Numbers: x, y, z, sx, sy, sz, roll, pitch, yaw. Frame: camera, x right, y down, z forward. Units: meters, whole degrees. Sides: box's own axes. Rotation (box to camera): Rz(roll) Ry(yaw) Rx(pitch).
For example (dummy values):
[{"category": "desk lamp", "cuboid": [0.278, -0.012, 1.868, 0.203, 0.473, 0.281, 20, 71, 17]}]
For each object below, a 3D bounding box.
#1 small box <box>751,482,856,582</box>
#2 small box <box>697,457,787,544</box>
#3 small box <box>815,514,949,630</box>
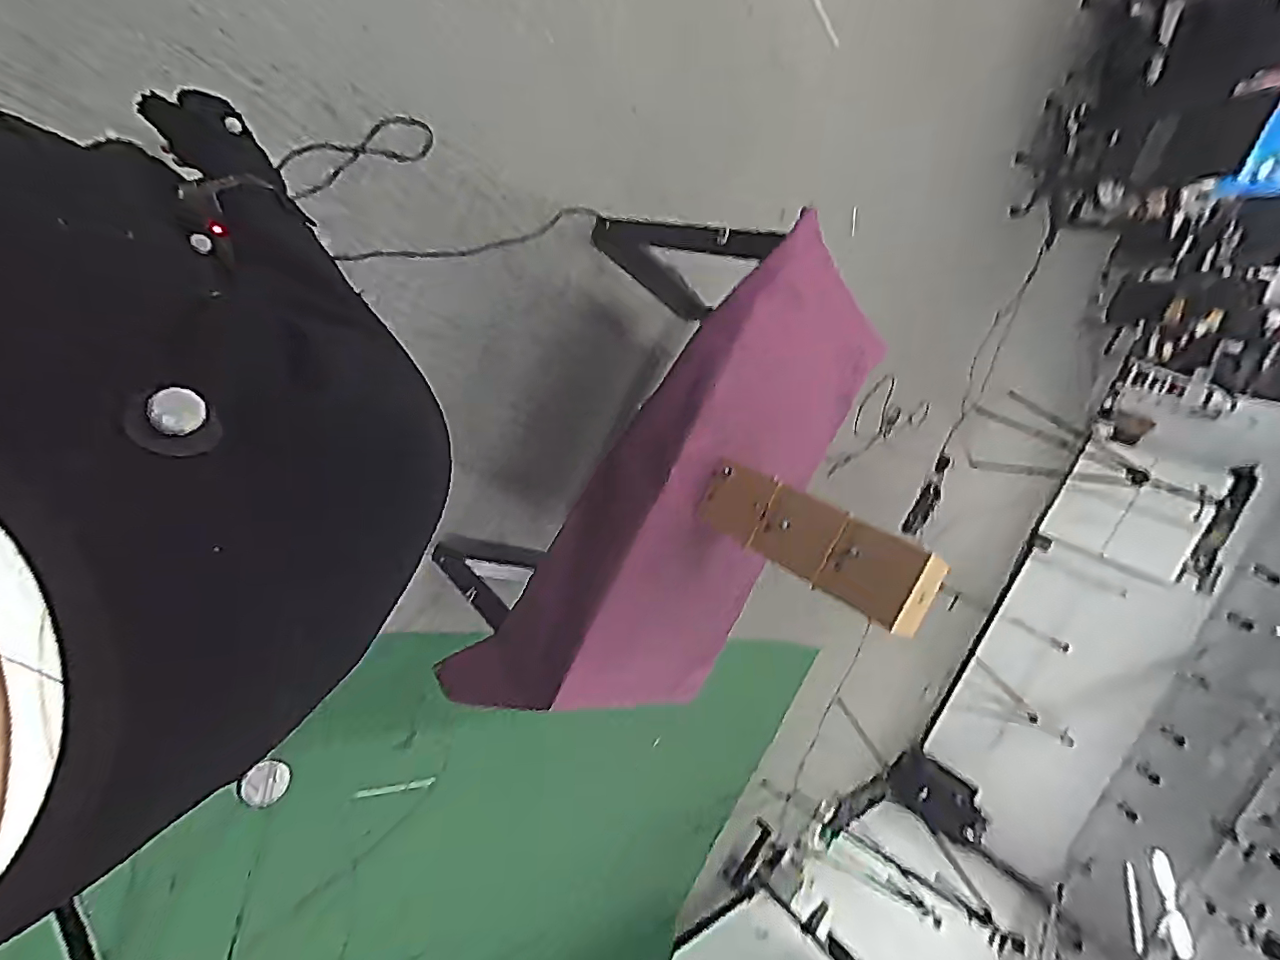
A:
[{"category": "small box", "cuboid": [0.380, 0.121, 1.197, 0.179, 0.176, 0.168, 24, 94, -48]}, {"category": "small box", "cuboid": [0.267, 0.059, 1.301, 0.179, 0.176, 0.168, 24, 94, -49]}, {"category": "small box", "cuboid": [0.488, 0.184, 1.092, 0.179, 0.176, 0.168, 24, 94, -48]}]
